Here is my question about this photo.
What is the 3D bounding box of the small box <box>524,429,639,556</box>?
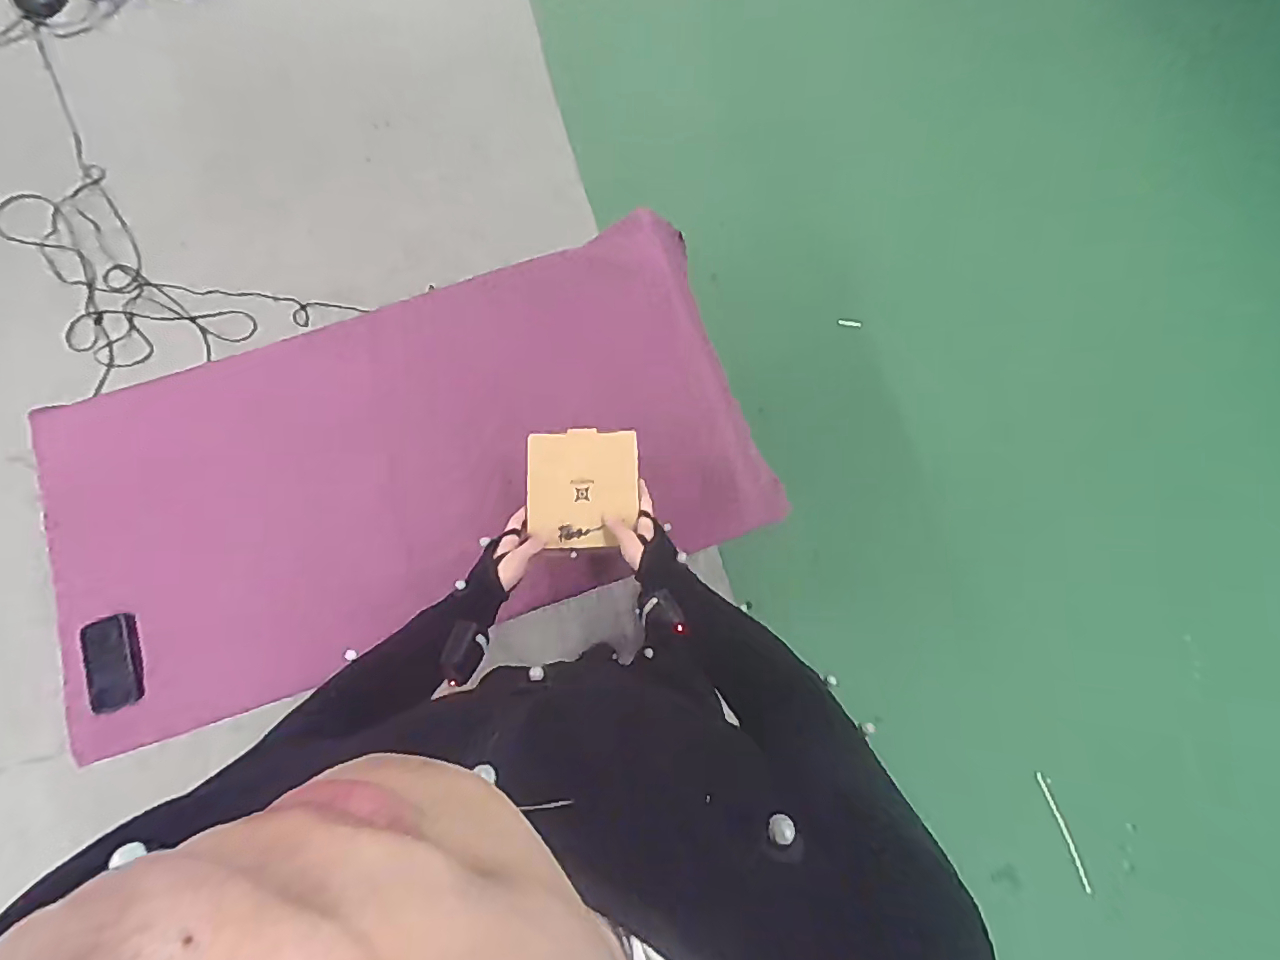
[{"bbox_3d":[-0.086,0.027,0.865,0.168,0.176,0.179,-2,78,0],"label":"small box"}]
